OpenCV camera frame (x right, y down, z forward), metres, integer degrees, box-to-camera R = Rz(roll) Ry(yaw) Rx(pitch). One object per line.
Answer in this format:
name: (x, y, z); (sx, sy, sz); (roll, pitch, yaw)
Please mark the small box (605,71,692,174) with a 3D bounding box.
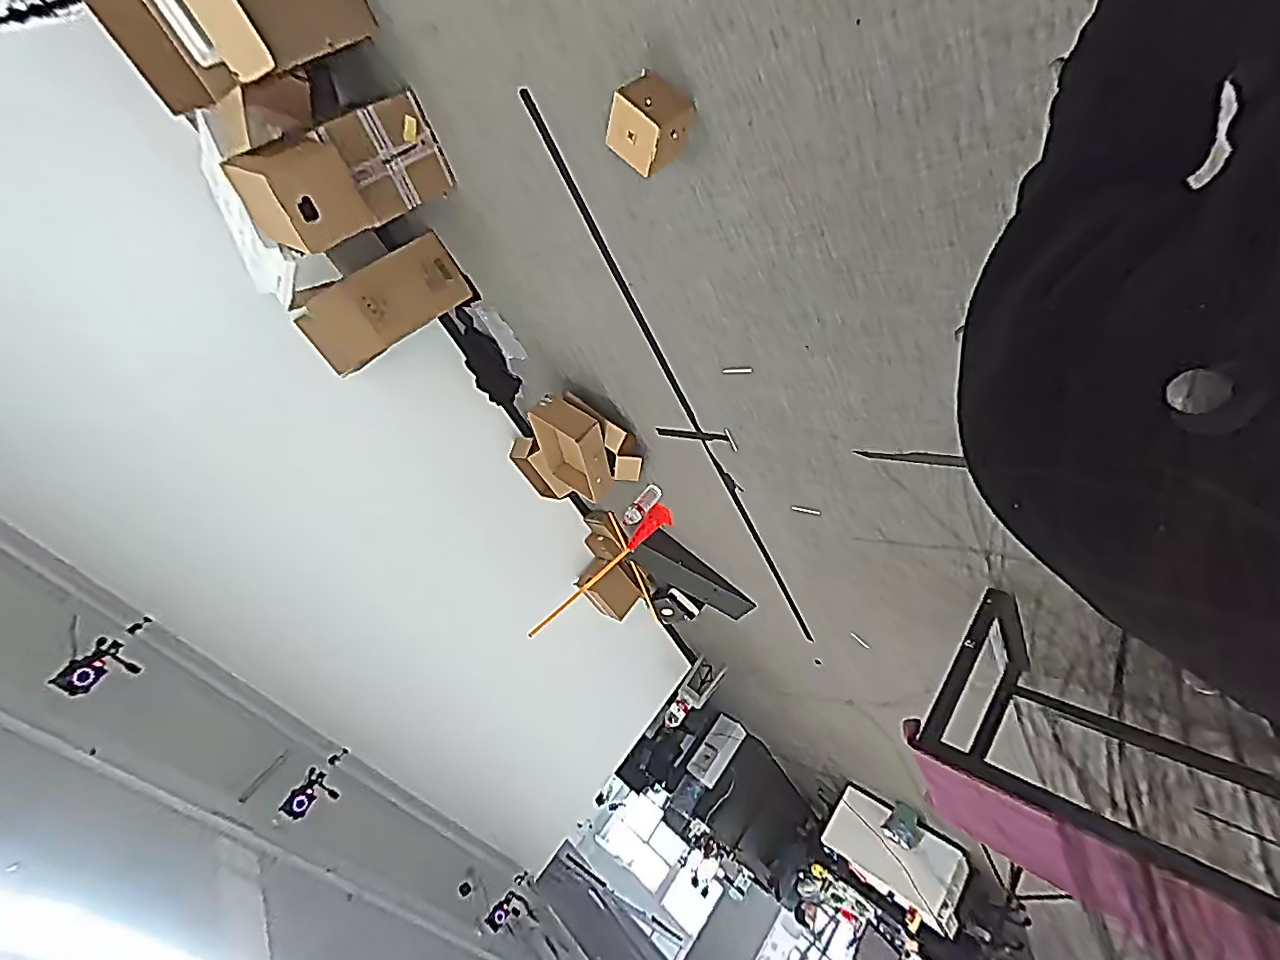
small box: (0.026, -1.067, 1.607); (0.179, 0.176, 0.168); (43, 155, 5)
